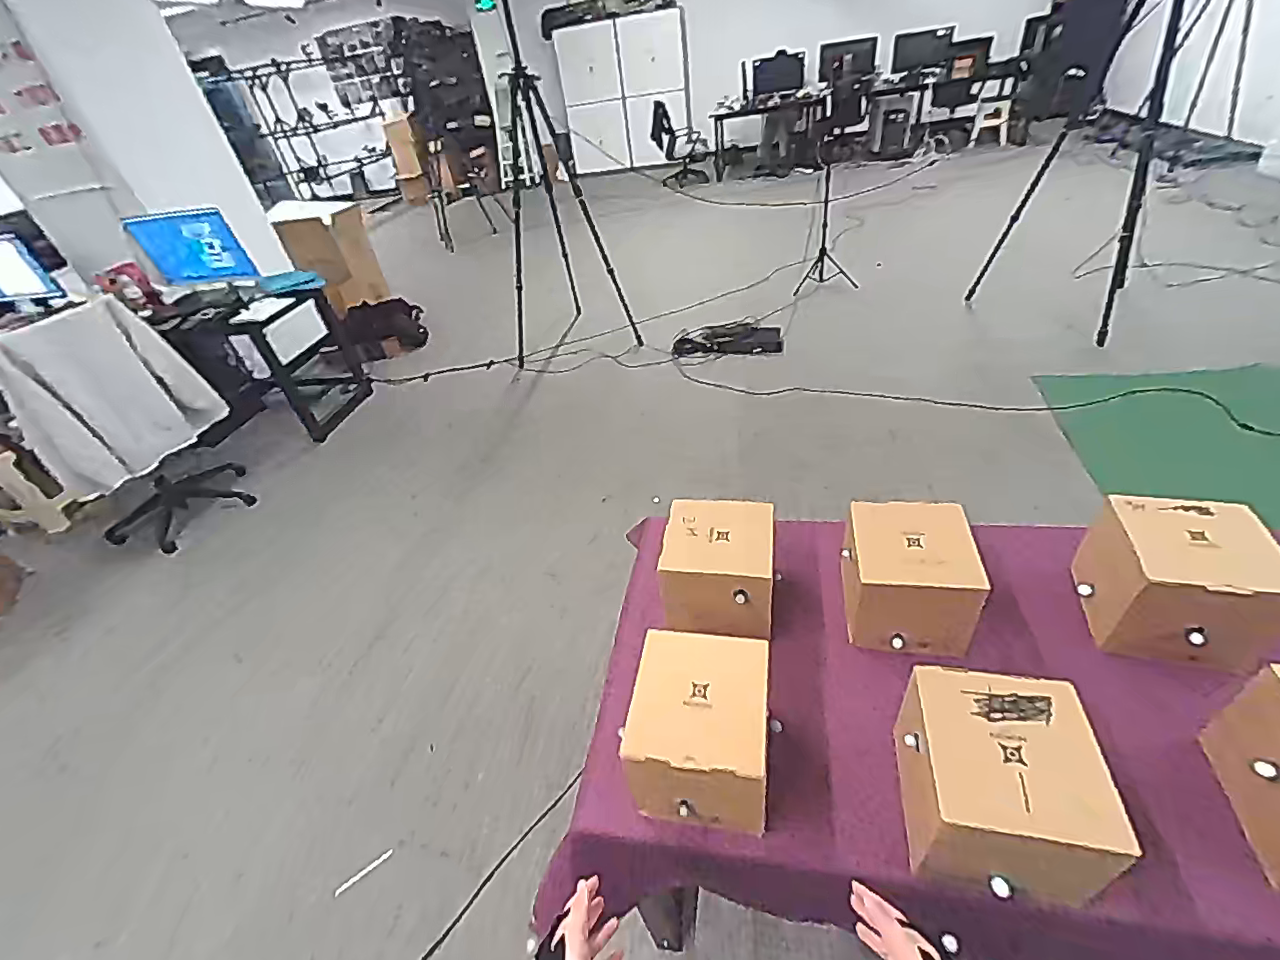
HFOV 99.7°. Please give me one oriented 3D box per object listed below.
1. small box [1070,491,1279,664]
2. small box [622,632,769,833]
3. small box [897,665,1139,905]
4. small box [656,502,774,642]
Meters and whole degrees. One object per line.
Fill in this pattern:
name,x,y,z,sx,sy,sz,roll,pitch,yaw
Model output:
small box,0.765,0.139,0.782,0.168,0.176,0.179,5,42,19
small box,0.084,0.330,0.716,0.168,0.176,0.179,1,40,14
small box,0.401,0.342,0.618,0.168,0.176,0.179,1,40,15
small box,0.136,0.156,0.919,0.179,0.176,0.168,1,39,14
